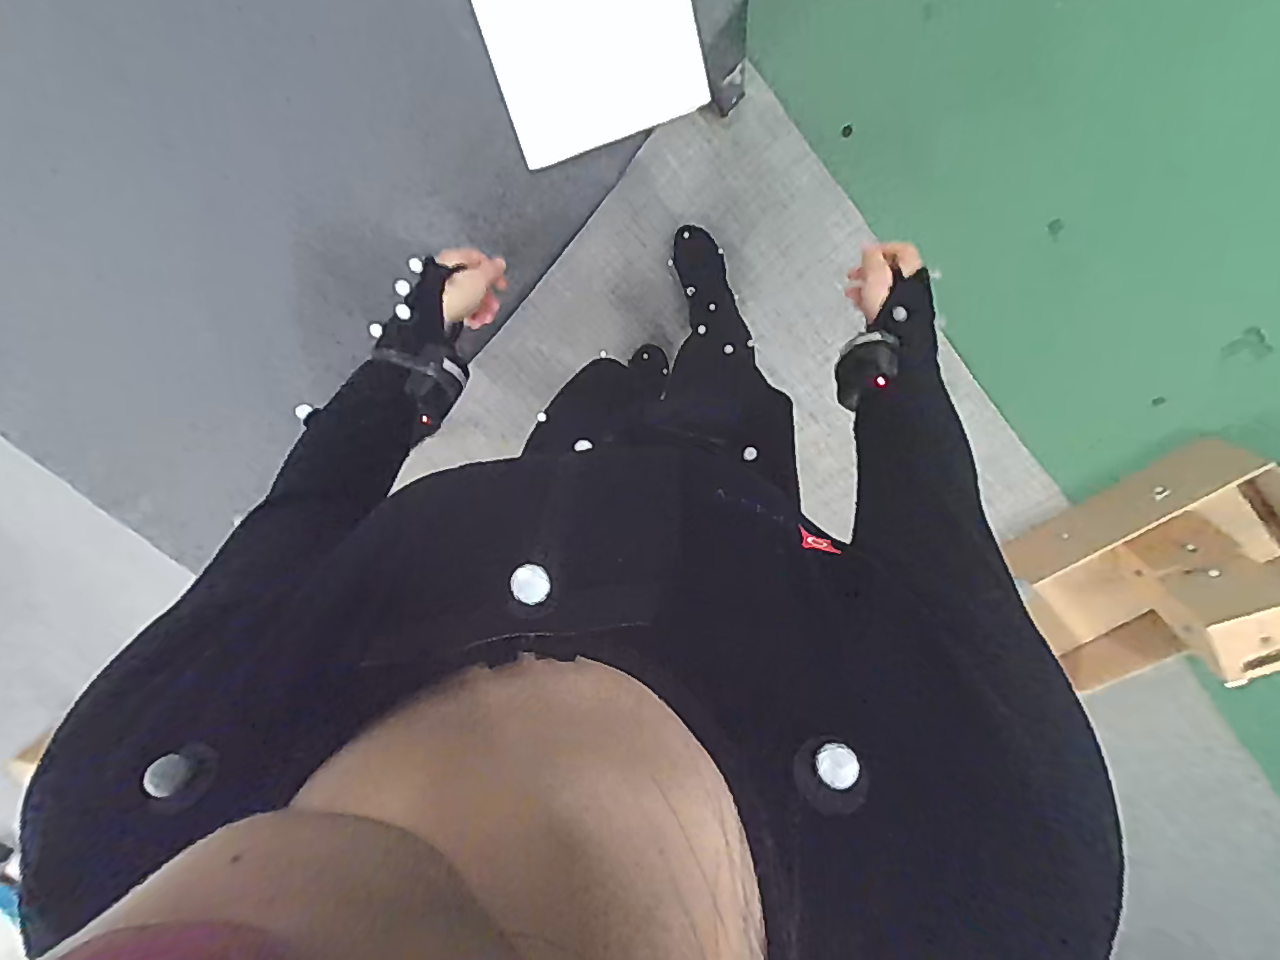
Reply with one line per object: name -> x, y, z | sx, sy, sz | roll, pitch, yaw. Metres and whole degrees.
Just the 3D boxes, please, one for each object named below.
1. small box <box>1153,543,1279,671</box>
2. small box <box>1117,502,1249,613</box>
small box -> 1.269, 0.269, 1.159 | 0.168, 0.176, 0.179 | -30, 108, 23
small box -> 1.297, 0.184, 1.298 | 0.179, 0.176, 0.168 | -27, 111, 22
